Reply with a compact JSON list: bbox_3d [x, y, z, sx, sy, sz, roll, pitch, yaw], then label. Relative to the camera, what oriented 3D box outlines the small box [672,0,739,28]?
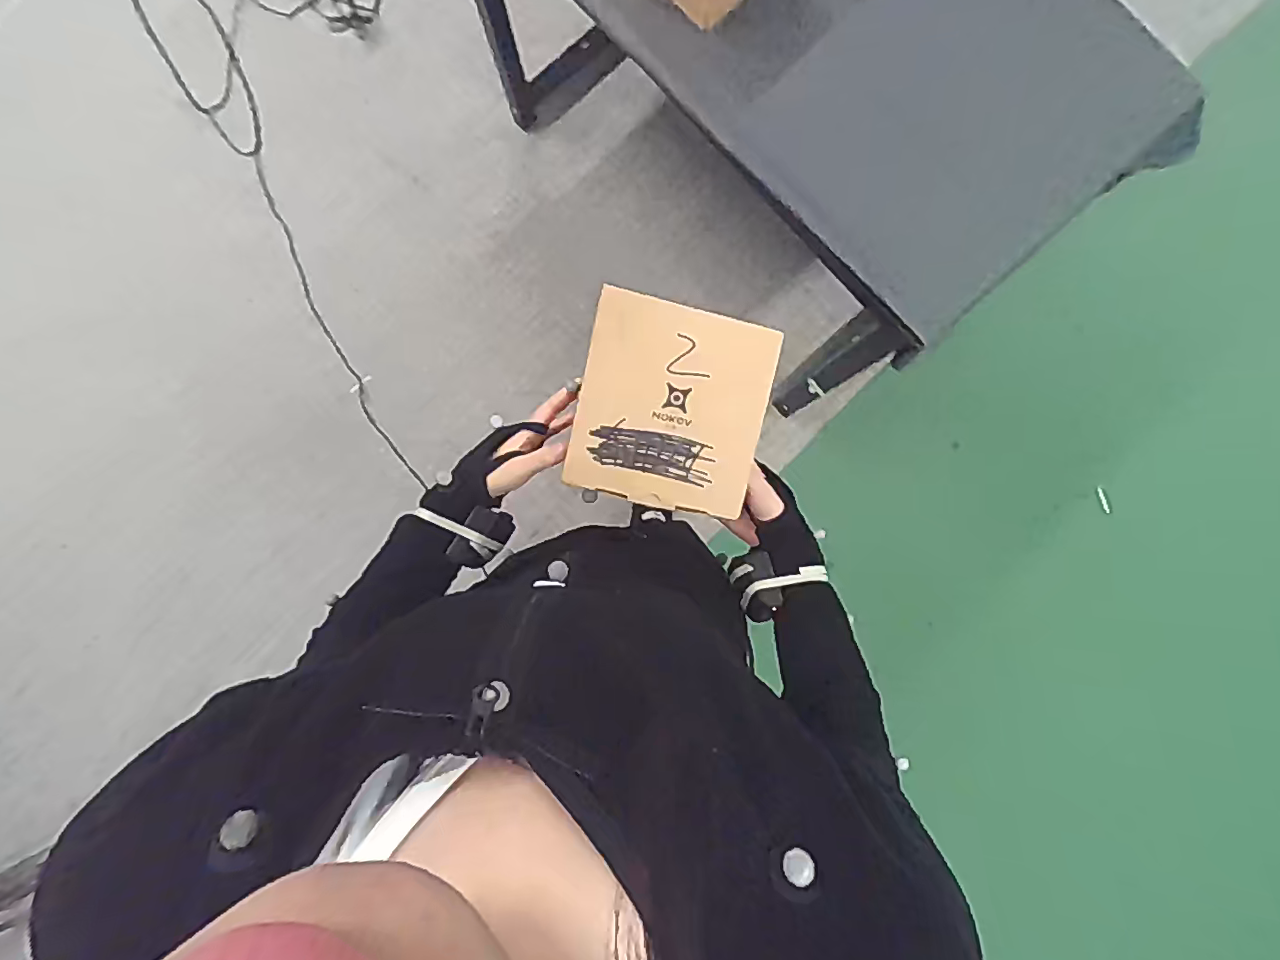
[{"bbox_3d":[0.105,-0.796,0.742,0.179,0.176,0.168,-44,89,-2],"label":"small box"}]
